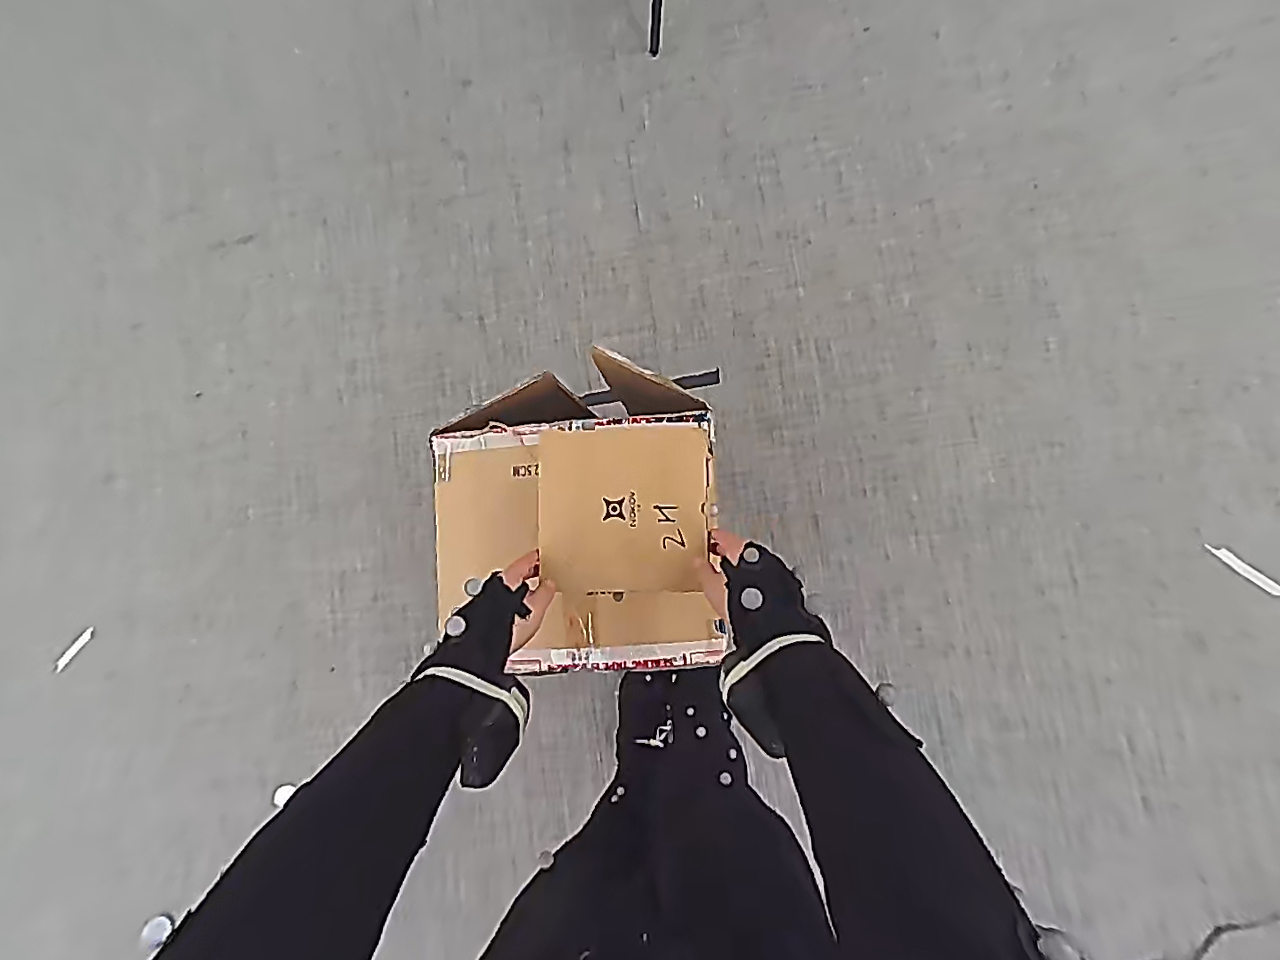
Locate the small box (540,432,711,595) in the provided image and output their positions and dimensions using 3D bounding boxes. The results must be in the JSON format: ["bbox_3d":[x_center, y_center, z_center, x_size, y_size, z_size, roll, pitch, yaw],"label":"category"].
[{"bbox_3d":[-0.008,0.039,0.626,0.179,0.176,0.168,-1,87,5],"label":"small box"}]
